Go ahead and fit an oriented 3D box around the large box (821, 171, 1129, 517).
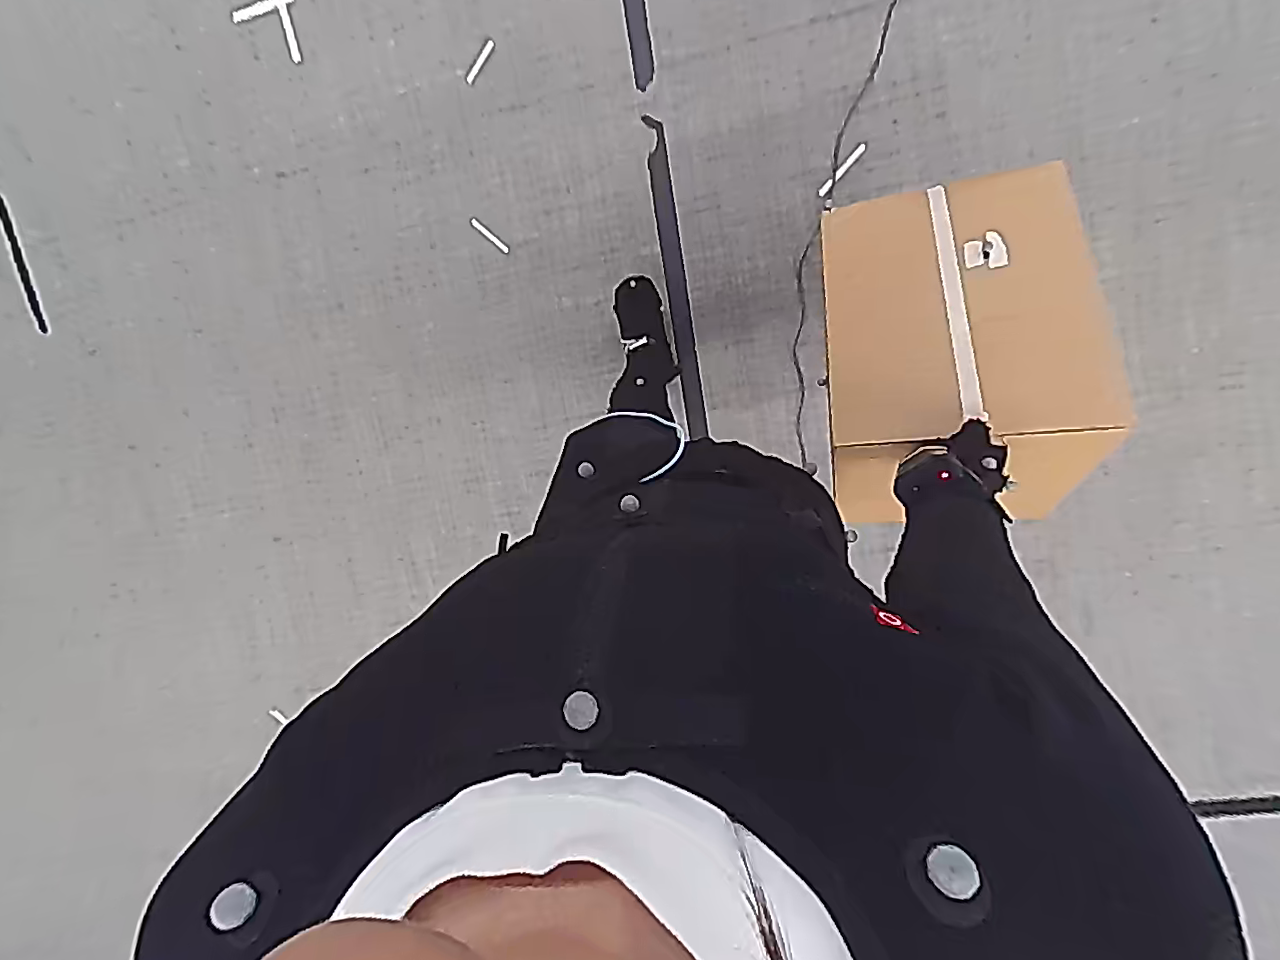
[{"bbox_3d":[0.464,-0.182,0.853,0.320,0.320,0.408,-3,66,18],"label":"large box"}]
